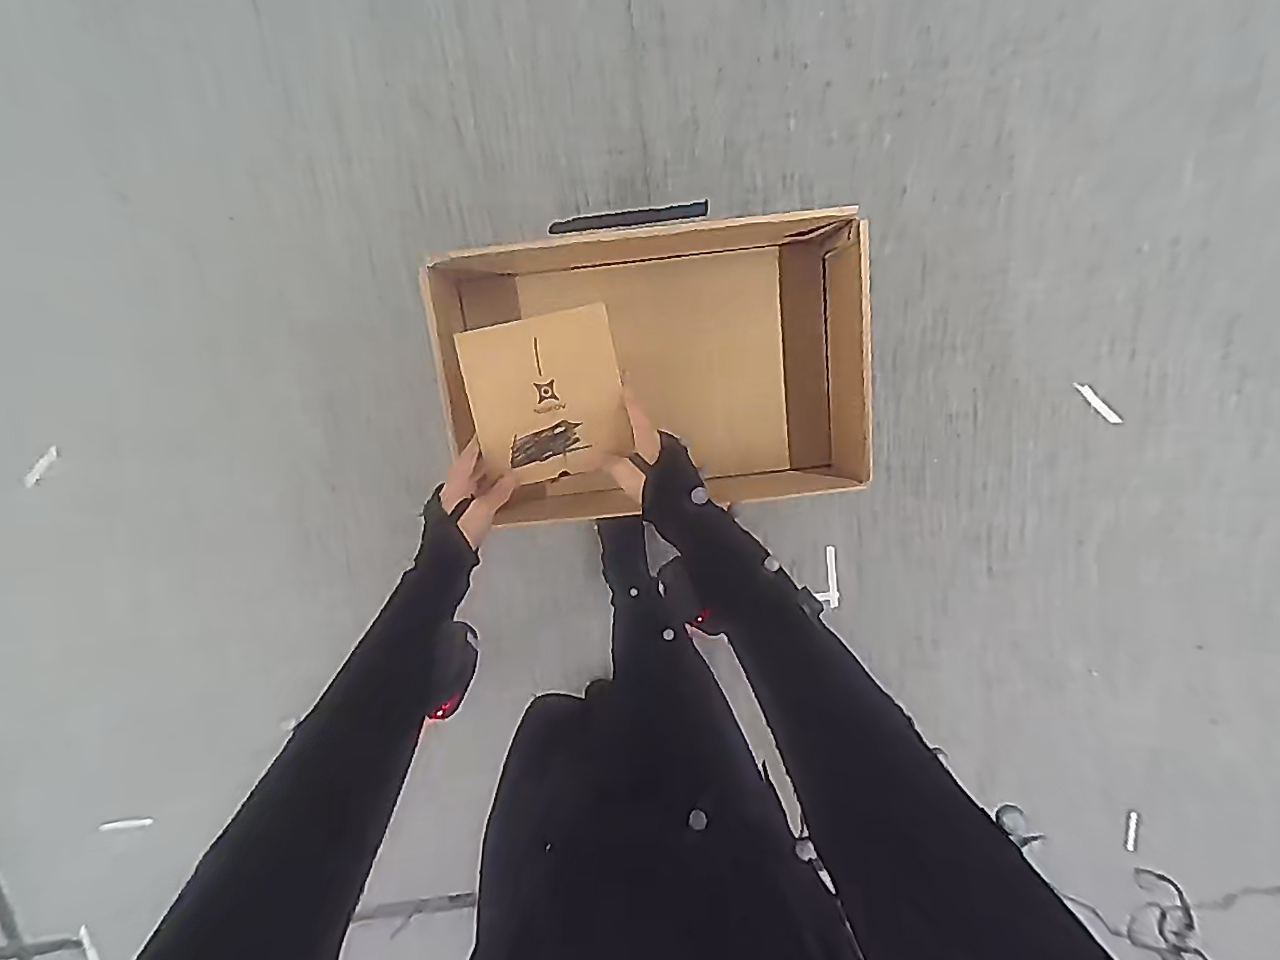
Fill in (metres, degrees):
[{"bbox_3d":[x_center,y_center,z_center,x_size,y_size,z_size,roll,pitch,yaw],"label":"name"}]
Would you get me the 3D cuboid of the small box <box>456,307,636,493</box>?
[{"bbox_3d":[-0.099,-0.095,0.658,0.168,0.176,0.179,-11,97,1],"label":"small box"}]
